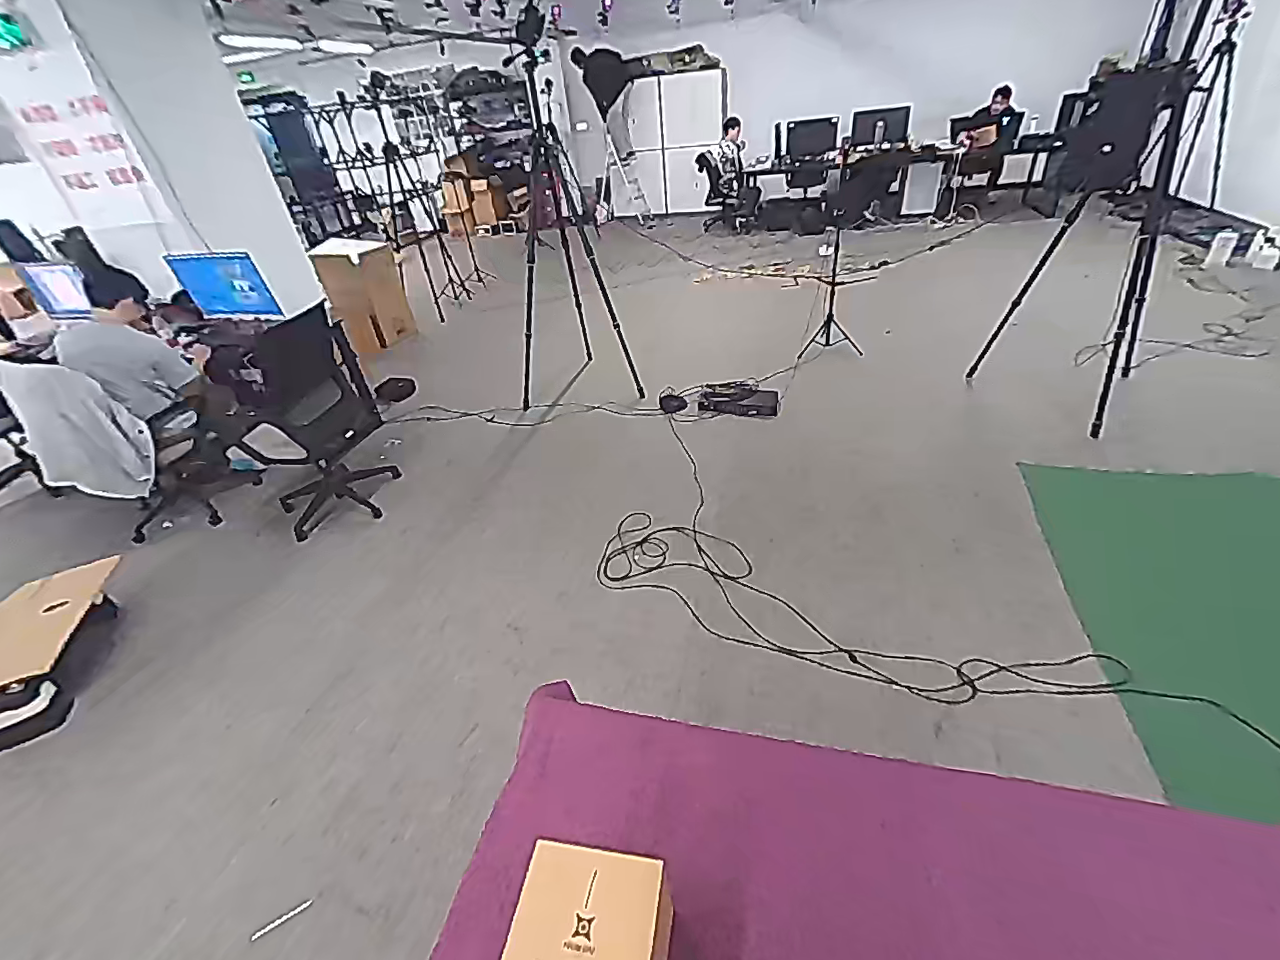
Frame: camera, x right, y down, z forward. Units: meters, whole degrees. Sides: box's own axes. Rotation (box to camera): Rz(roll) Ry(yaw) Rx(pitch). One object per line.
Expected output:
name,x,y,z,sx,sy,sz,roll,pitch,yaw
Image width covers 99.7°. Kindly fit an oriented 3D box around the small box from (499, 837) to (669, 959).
small box,-0.060,0.573,0.649,0.168,0.176,0.179,2,35,12
